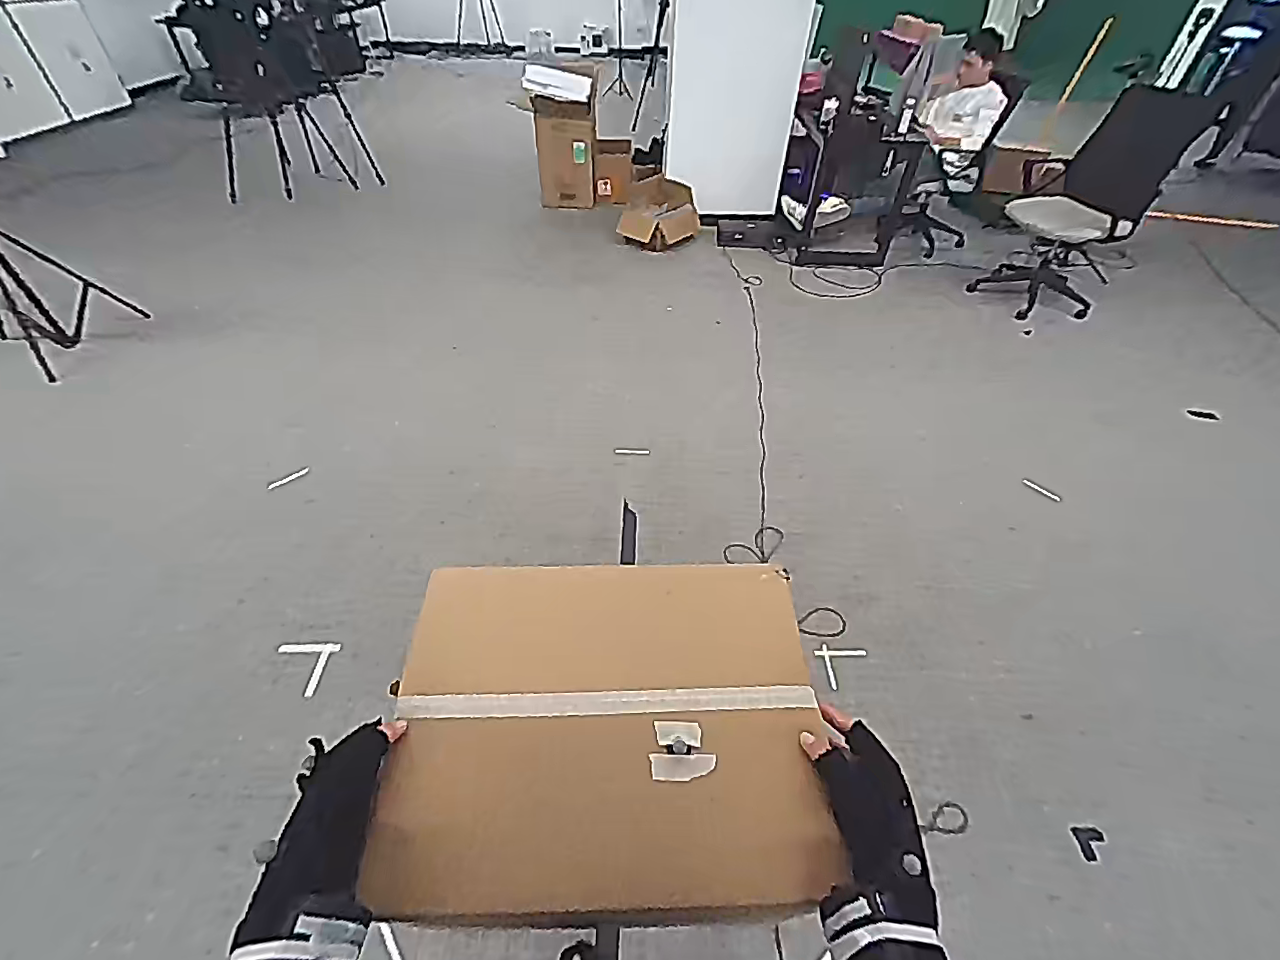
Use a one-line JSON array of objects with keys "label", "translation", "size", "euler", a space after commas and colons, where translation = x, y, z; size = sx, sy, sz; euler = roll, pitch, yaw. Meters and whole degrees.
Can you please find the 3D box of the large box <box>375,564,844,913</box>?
[{"label": "large box", "translation": [-0.032, 0.316, 0.659], "size": [0.408, 0.320, 0.320], "euler": [0, 50, -2]}]
